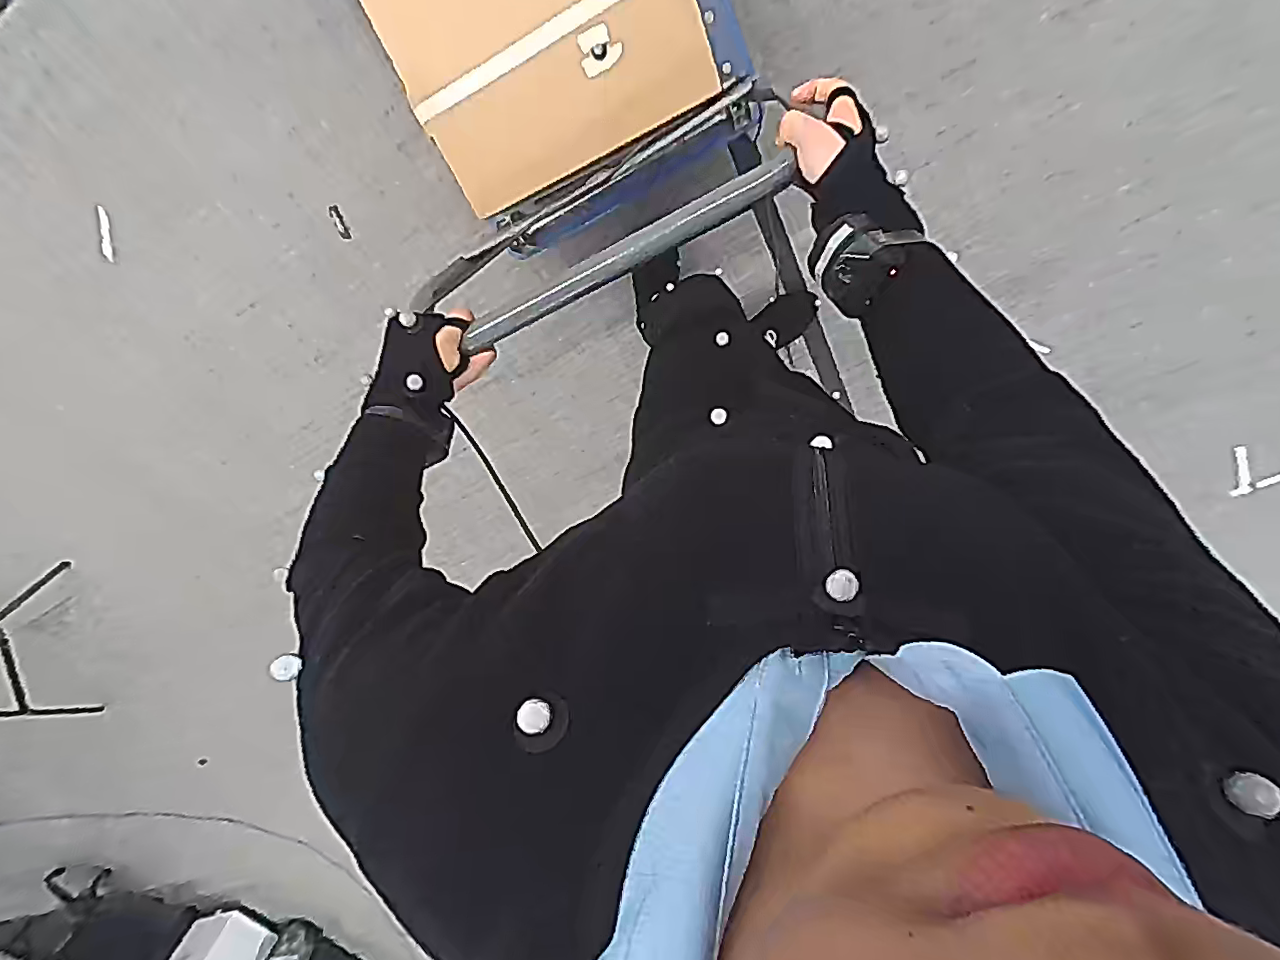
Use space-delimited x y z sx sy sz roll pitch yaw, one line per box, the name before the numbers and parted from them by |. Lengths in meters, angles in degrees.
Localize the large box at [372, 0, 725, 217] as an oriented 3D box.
large box | -0.114 -0.672 0.862 0.408 0.320 0.320 -20 118 15
